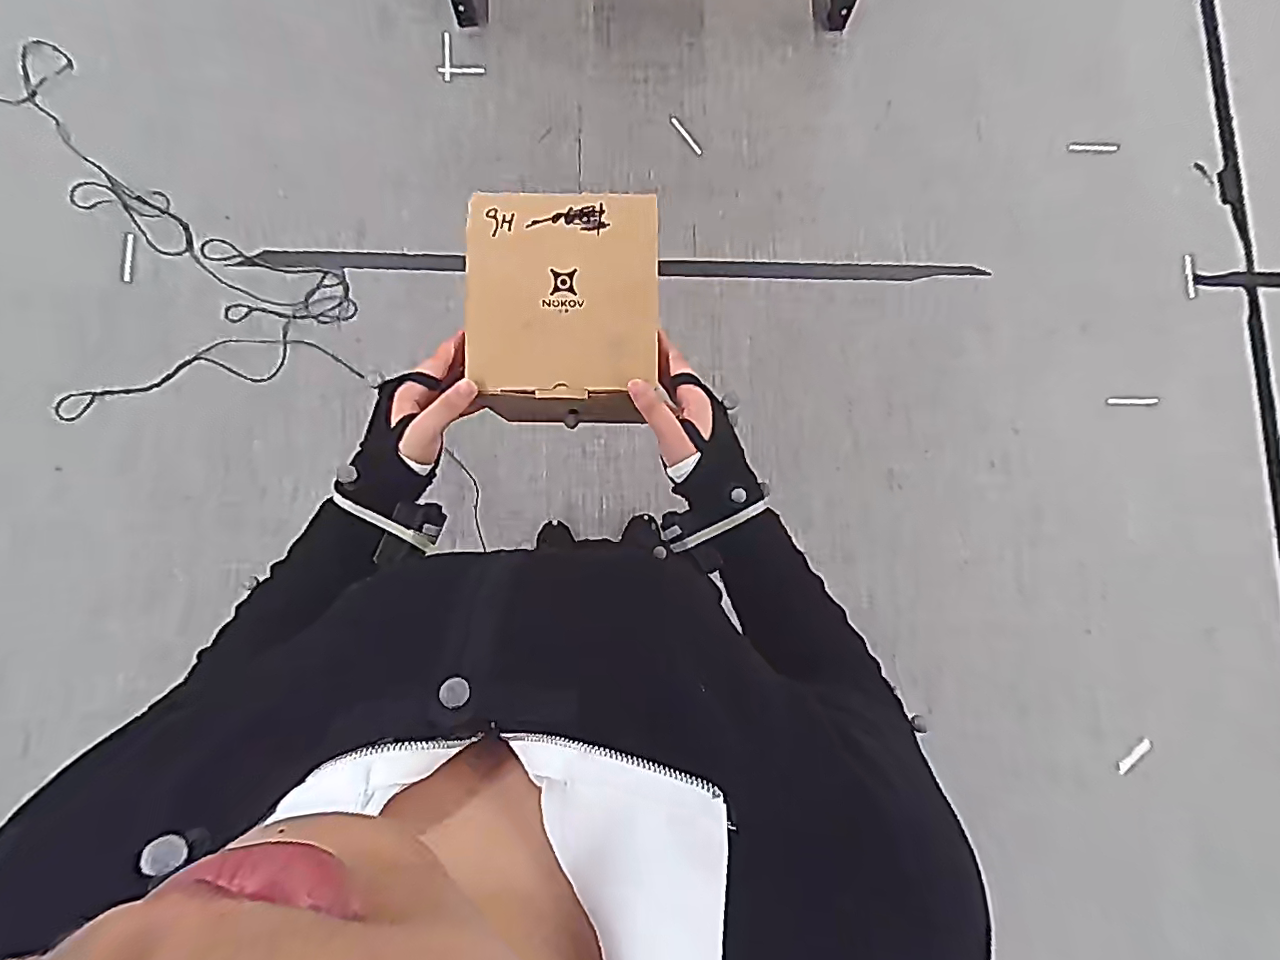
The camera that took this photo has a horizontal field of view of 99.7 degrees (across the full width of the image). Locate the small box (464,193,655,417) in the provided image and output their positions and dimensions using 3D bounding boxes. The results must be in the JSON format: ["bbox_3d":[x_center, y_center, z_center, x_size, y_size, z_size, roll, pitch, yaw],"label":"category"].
[{"bbox_3d":[-0.069,-0.159,0.544,0.168,0.176,0.179,0,88,-1],"label":"small box"}]
